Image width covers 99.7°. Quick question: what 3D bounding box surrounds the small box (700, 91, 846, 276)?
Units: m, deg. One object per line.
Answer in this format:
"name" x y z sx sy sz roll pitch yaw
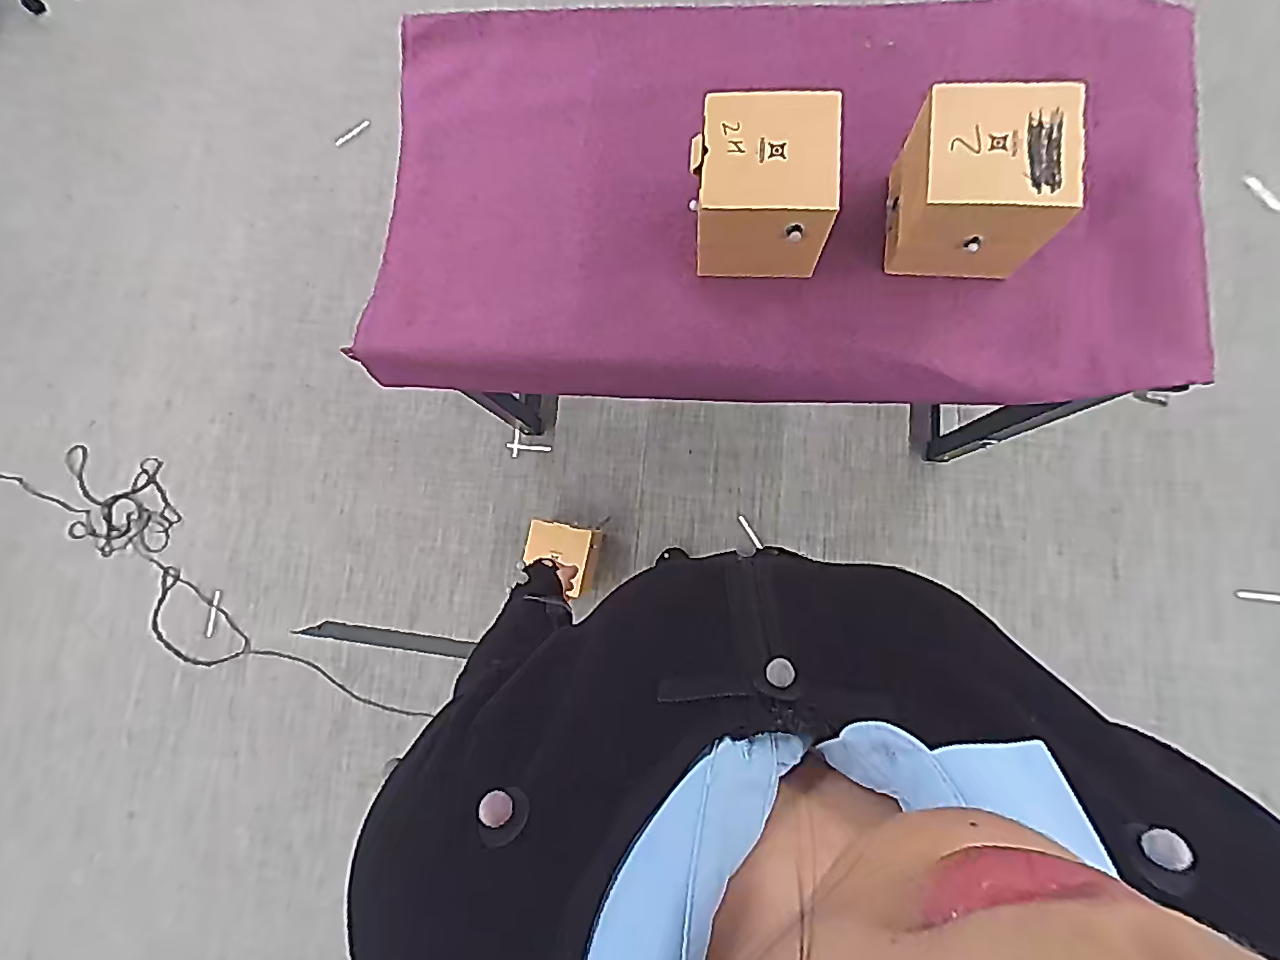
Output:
"small box" 0.177 -0.406 0.764 0.179 0.176 0.168 3 82 7

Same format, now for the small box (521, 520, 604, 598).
"small box" -0.203 0.212 1.467 0.168 0.176 0.179 11 84 7
